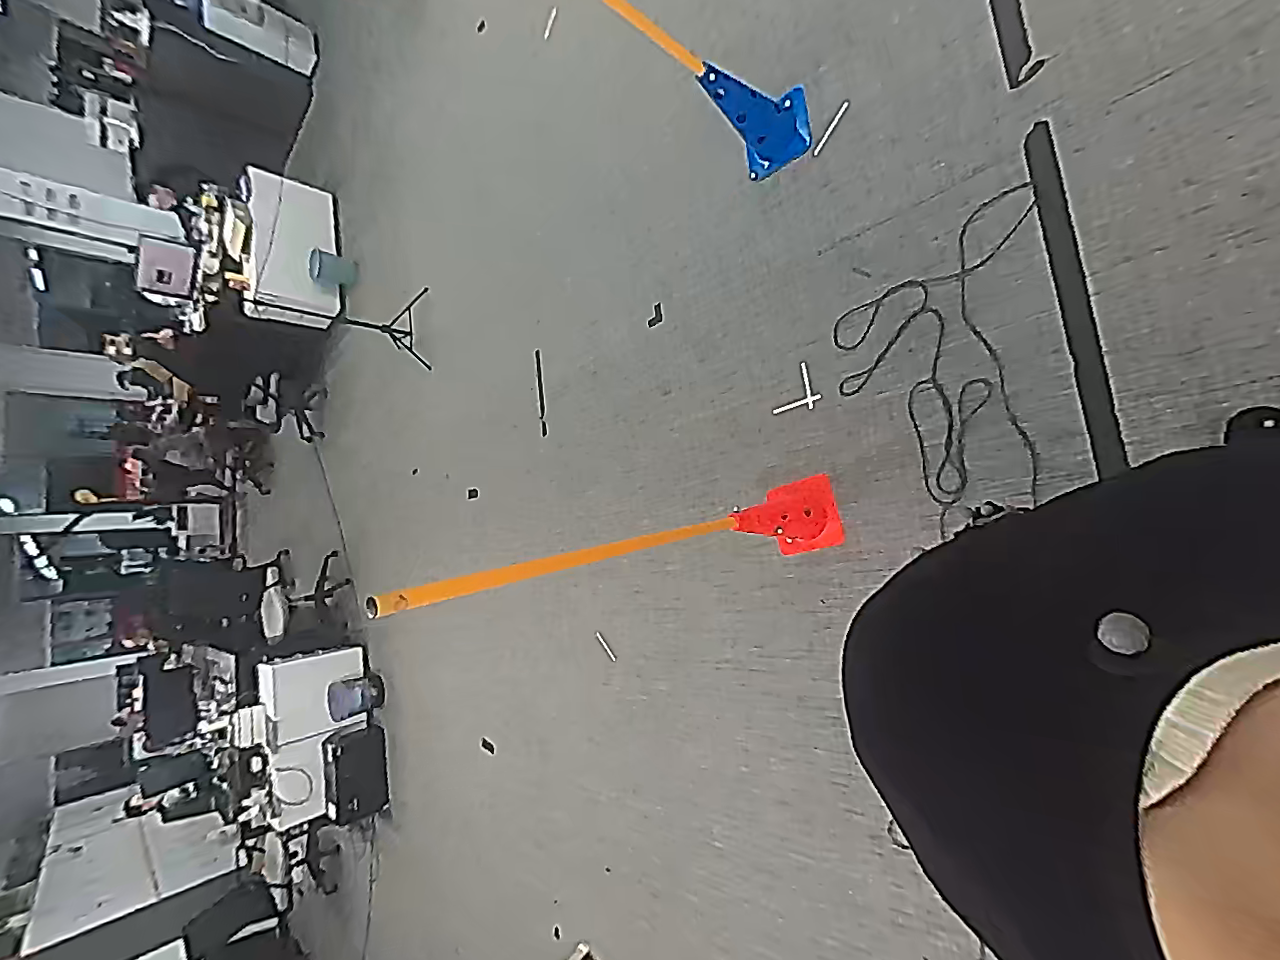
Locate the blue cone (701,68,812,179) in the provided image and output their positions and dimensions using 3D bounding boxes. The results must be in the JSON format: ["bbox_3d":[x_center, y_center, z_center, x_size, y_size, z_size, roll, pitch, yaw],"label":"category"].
[{"bbox_3d":[0.292,-1.009,1.465,0.193,0.380,0.192,-11,83,45],"label":"blue cone"}]

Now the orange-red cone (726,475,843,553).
[{"bbox_3d":[0.340,0.099,1.394,0.199,0.360,0.198,-21,76,42],"label":"orange-red cone"}]
